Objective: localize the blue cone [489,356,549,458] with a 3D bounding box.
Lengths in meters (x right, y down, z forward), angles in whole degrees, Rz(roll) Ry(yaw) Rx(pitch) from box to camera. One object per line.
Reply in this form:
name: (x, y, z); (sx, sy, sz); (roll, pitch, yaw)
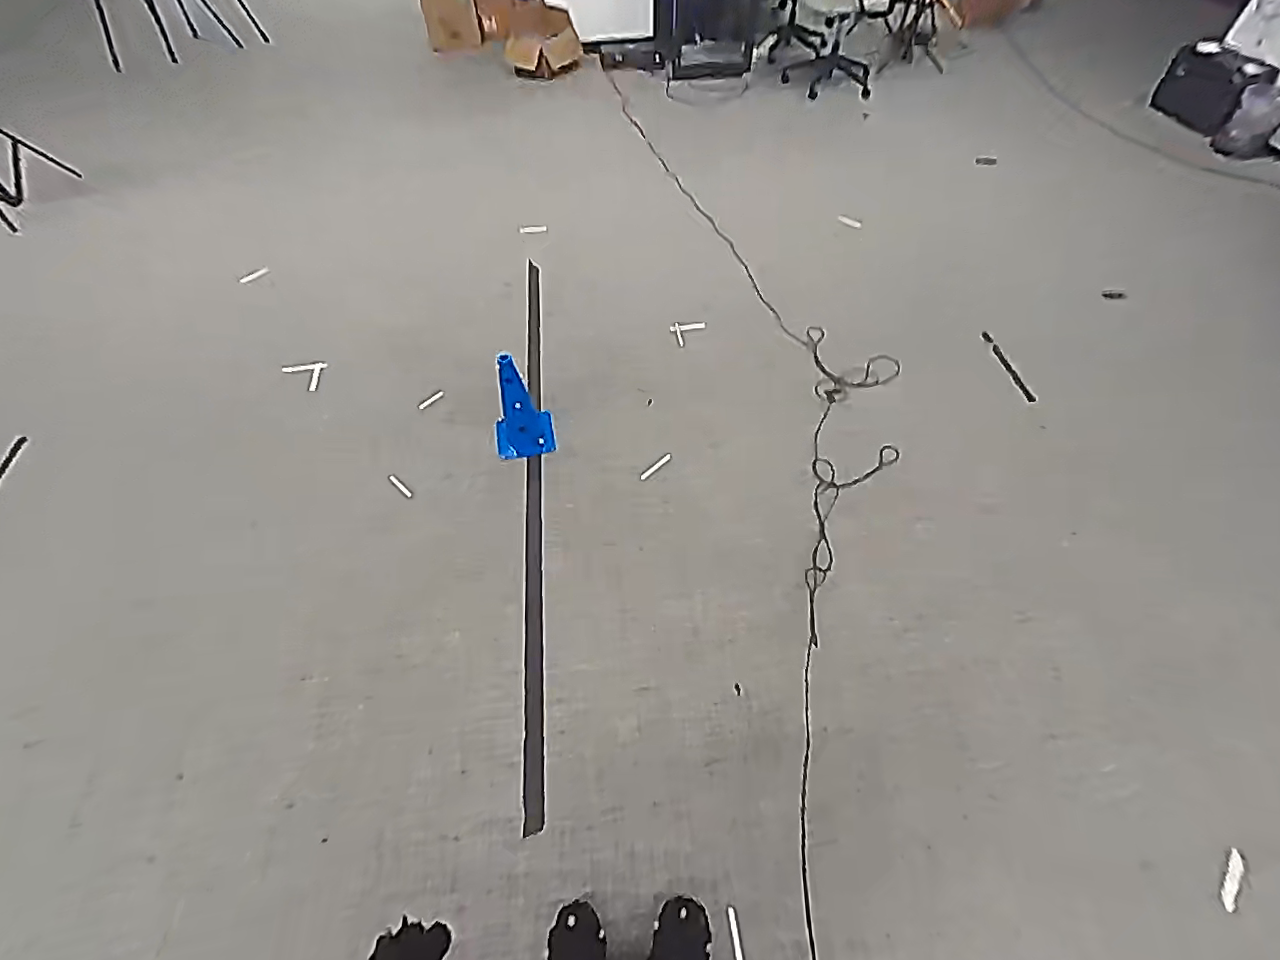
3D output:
blue cone: (-0.430, -0.260, 1.803); (0.192, 0.380, 0.193); (-9, 54, -5)
